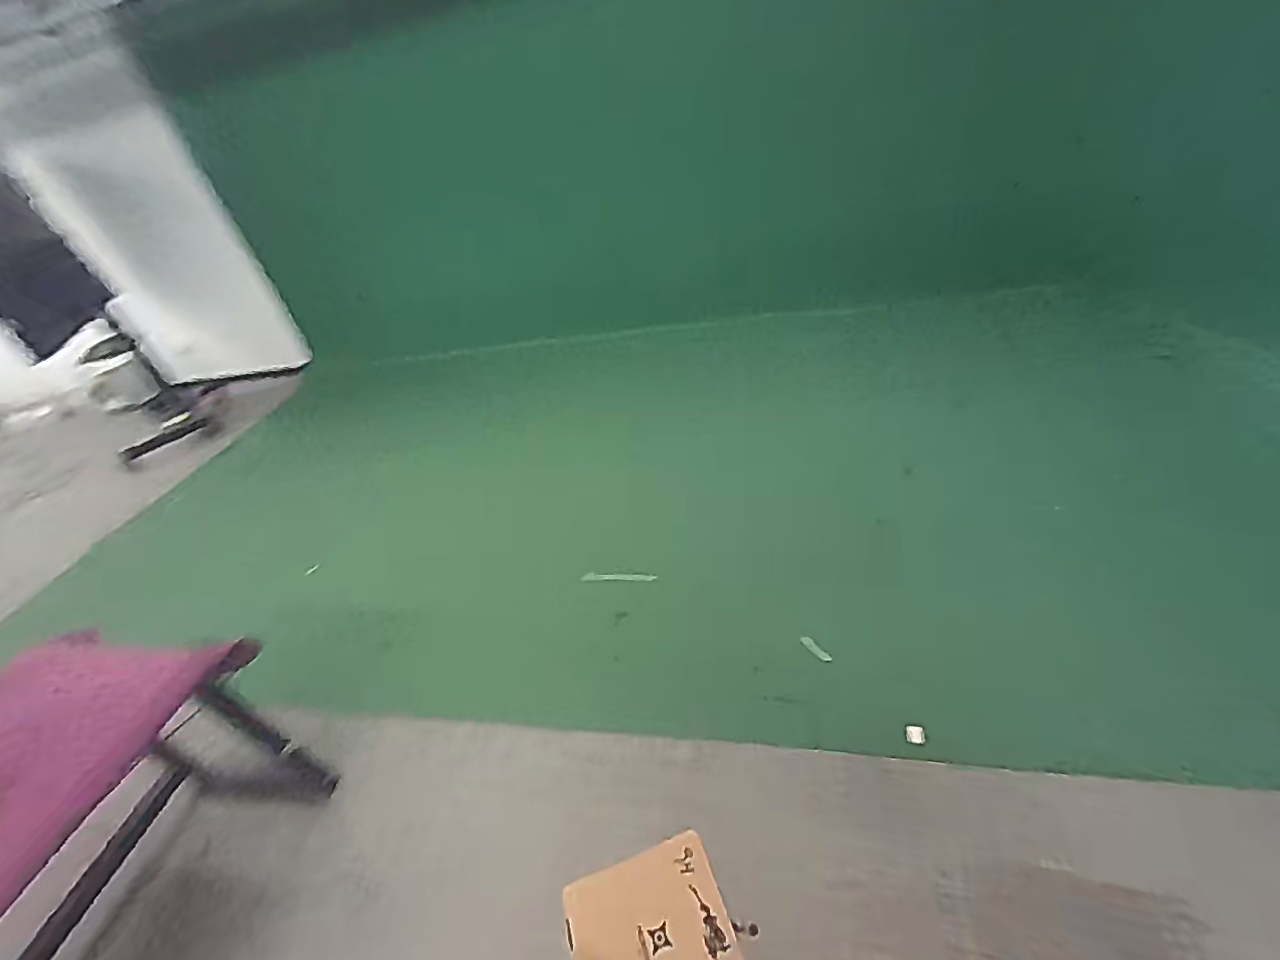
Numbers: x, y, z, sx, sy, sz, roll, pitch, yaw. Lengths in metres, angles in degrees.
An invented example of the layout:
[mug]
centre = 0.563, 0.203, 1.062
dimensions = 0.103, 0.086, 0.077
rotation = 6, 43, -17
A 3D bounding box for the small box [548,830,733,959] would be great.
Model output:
[small box]
centre = 0.012, 0.552, 0.624
dimensions = 0.179, 0.176, 0.168
rotation = -20, 40, -8
